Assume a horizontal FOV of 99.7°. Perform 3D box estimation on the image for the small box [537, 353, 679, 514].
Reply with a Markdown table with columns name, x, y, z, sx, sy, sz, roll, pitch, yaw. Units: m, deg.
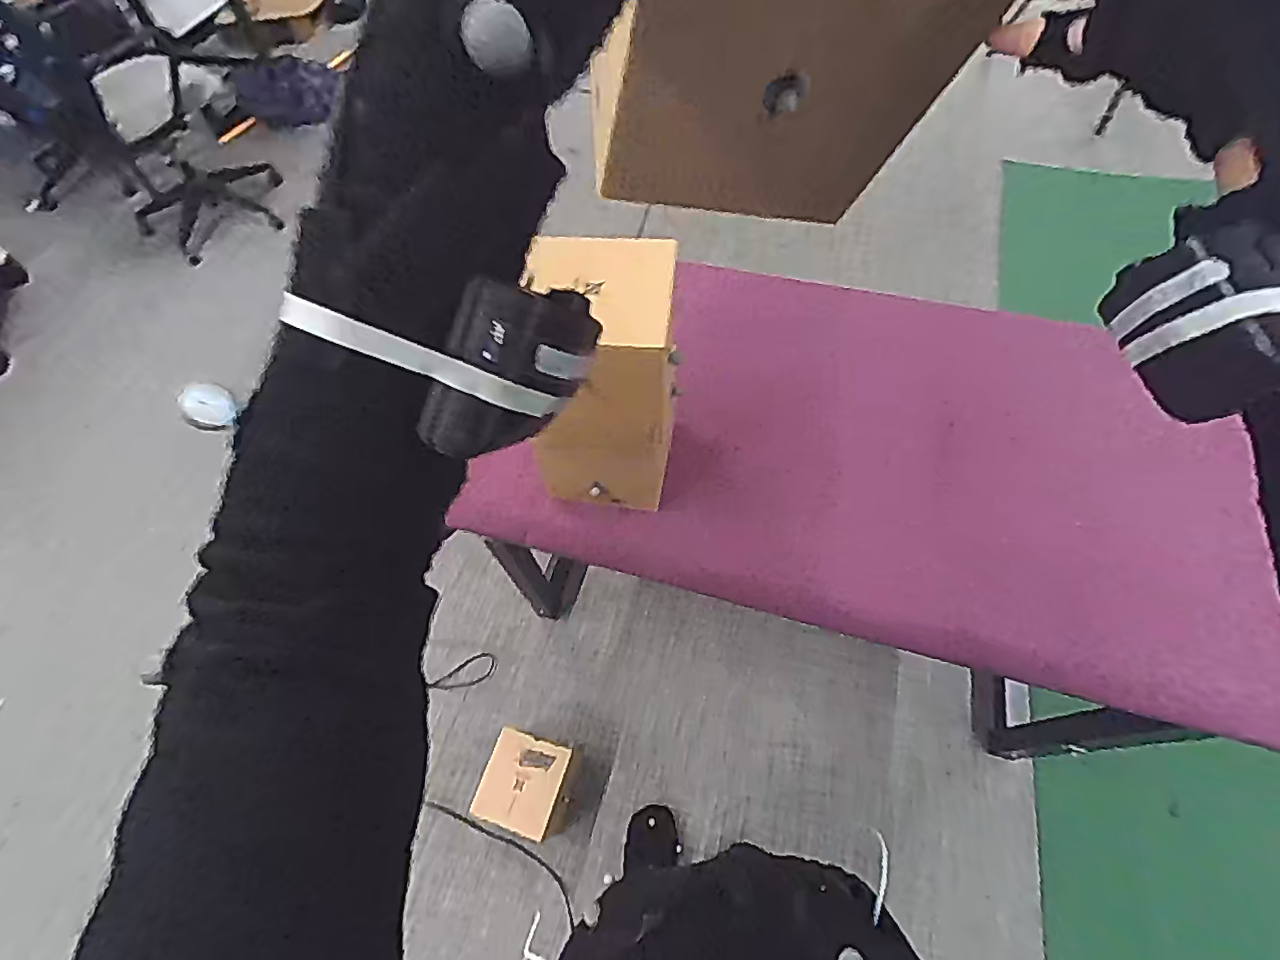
| name | x | y | z | sx | sy | sz | roll | pitch | yaw |
| --- | --- | --- | --- | --- | --- | --- | --- | --- | --- |
| small box | -0.042 | -0.076 | 0.777 | 0.168 | 0.176 | 0.179 | 9 | 59 | 8 |

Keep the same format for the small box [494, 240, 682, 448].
| name | x | y | z | sx | sy | sz | roll | pitch | yaw |
| --- | --- | --- | --- | --- | --- | --- | --- | --- | --- |
| small box | -0.047 | -0.151 | 0.632 | 0.179 | 0.176 | 0.168 | 5 | 59 | 5 |
